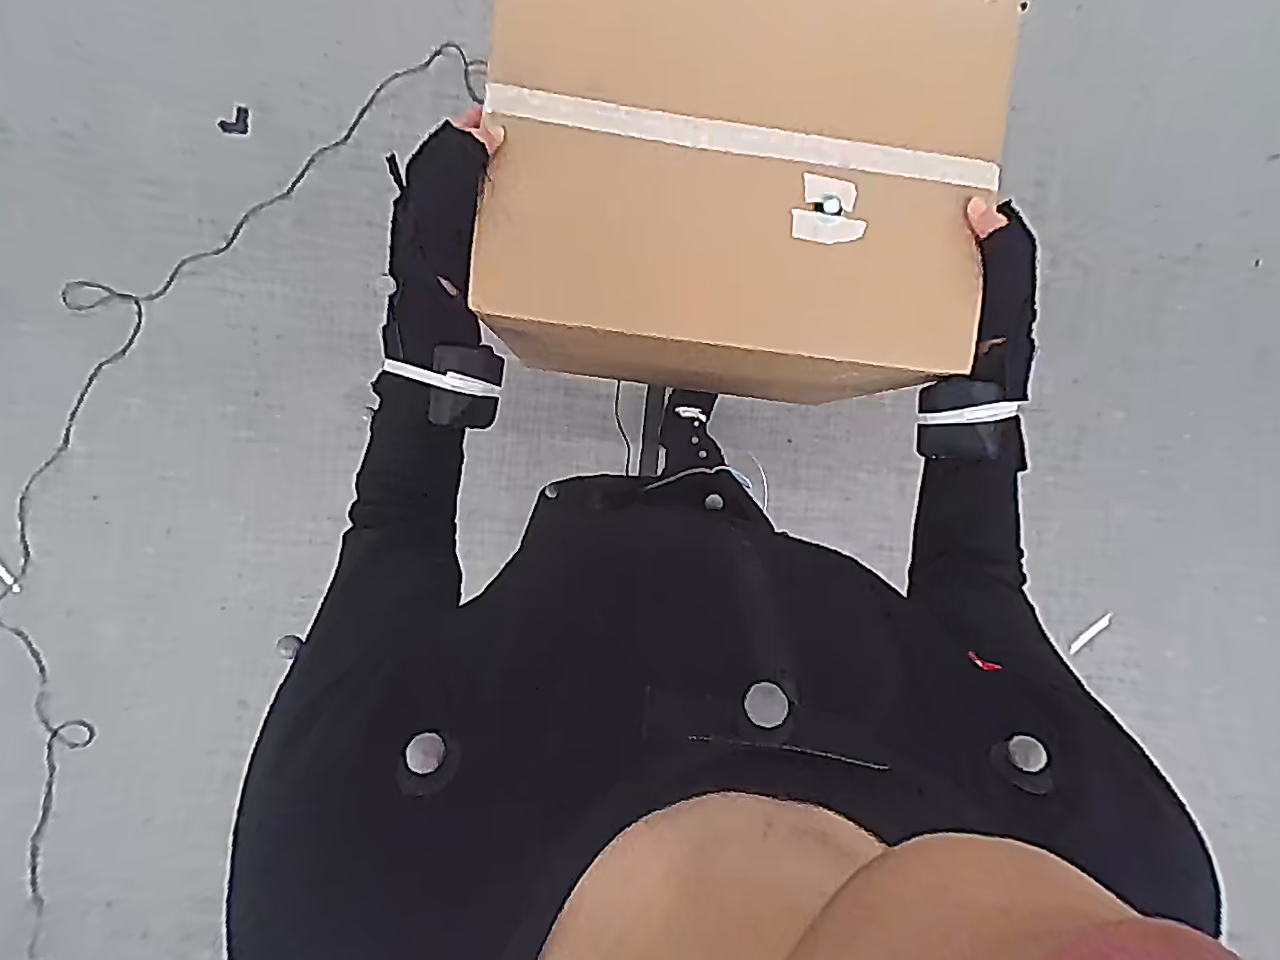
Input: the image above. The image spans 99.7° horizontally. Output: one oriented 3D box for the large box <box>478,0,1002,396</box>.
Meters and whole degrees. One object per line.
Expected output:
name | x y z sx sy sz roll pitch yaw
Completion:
large box | 0.069 -0.275 0.576 0.408 0.320 0.320 6 94 -5
